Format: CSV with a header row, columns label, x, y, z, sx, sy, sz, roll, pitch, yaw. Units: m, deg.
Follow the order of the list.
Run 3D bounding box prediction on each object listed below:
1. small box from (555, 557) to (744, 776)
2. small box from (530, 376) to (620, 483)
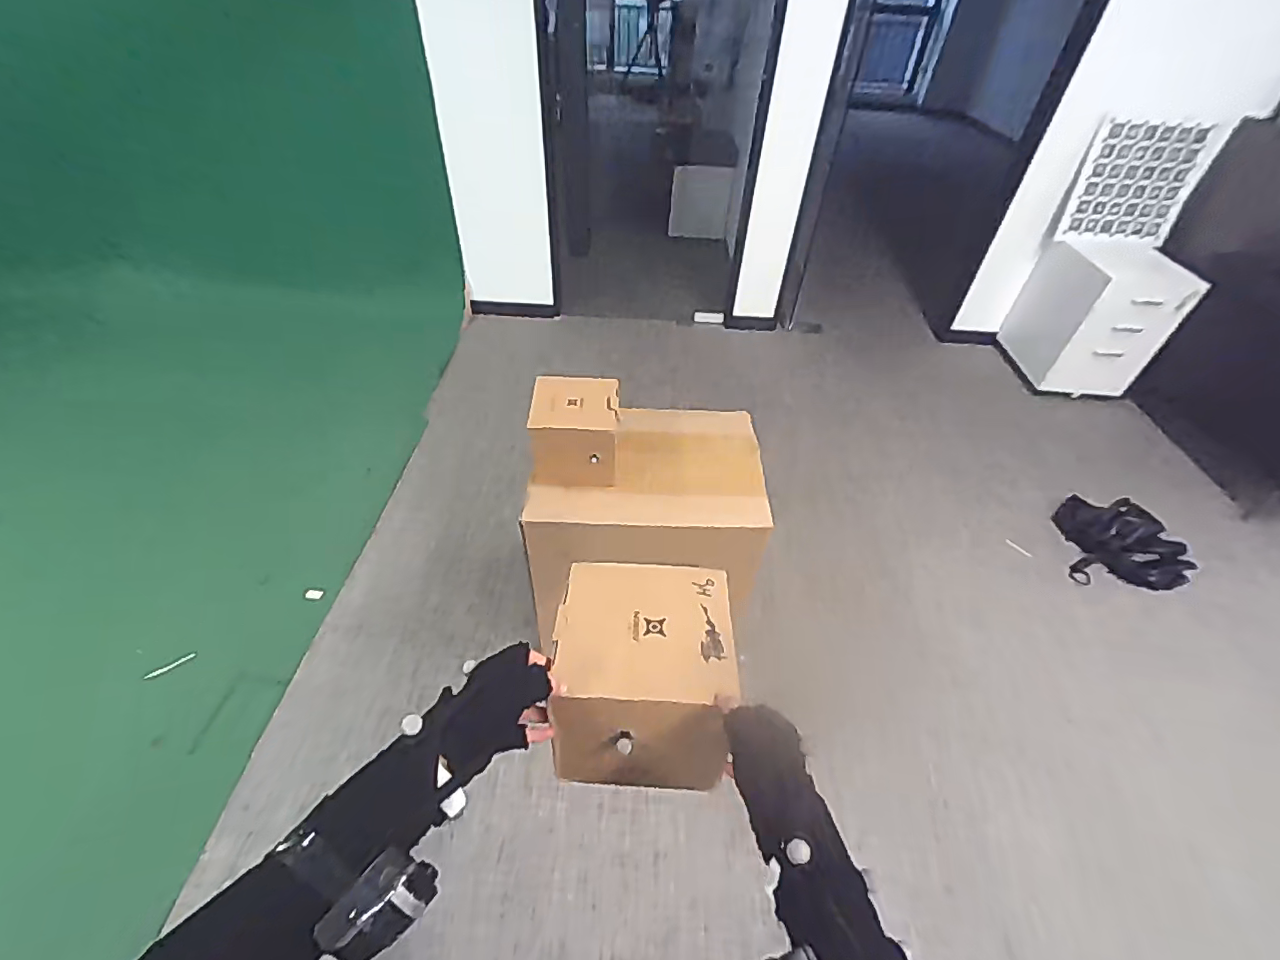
label,x,y,z,sx,sy,sz,roll,pitch,yaw
small box,0.011,0.204,0.598,0.179,0.176,0.168,3,37,1
small box,-0.132,-0.106,1.171,0.179,0.176,0.168,0,48,-2
